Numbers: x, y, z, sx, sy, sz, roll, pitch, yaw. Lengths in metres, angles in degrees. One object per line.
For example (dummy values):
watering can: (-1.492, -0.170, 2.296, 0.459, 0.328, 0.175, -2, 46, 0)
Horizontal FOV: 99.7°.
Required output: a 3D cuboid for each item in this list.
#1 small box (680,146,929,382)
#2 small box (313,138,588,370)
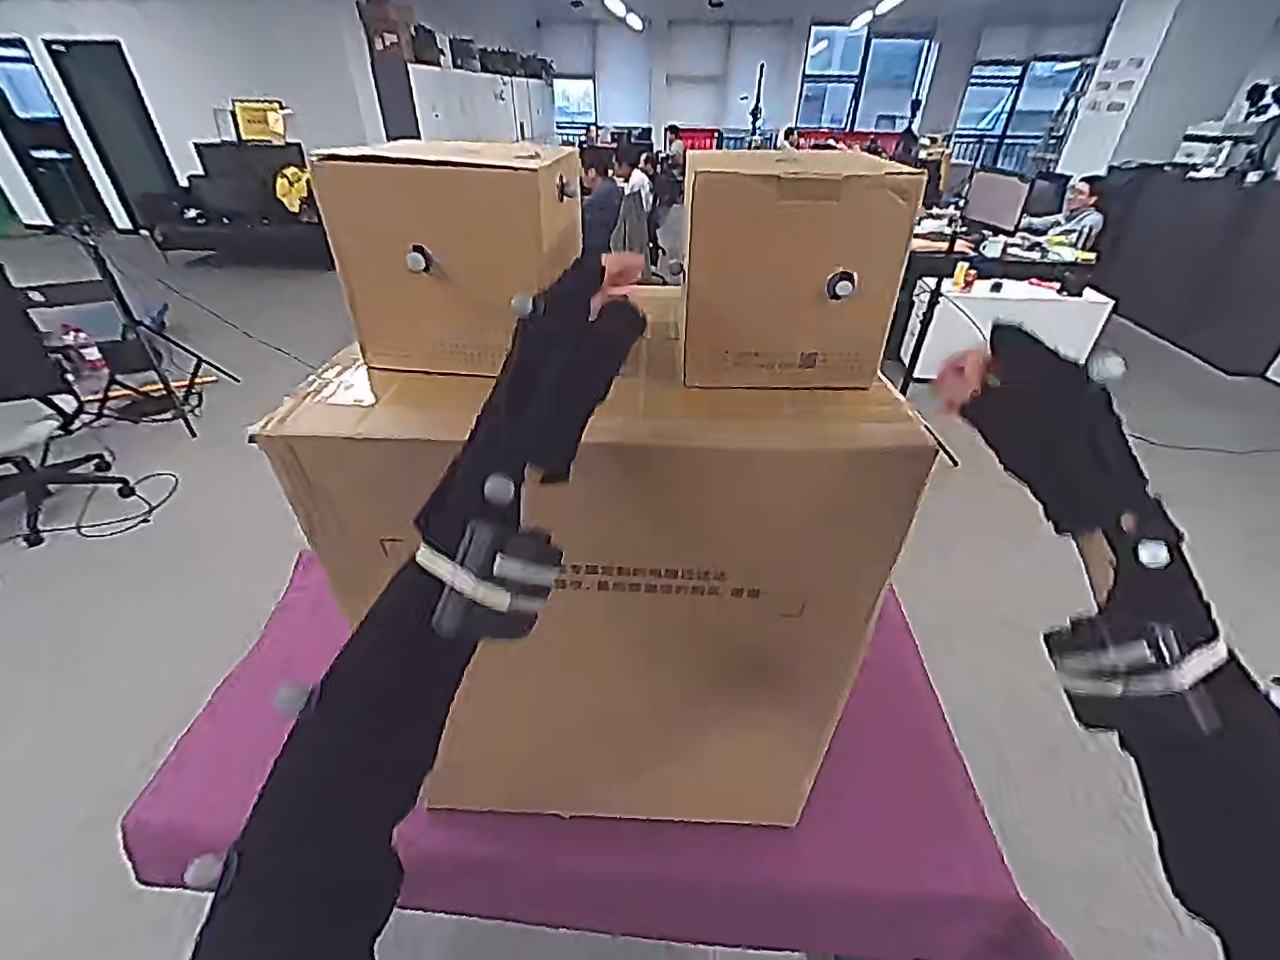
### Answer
small box: (0.124, -0.197, 0.488, 0.168, 0.176, 0.179, 2, 34, 1)
small box: (-0.149, -0.211, 0.499, 0.179, 0.176, 0.168, 4, 36, 3)
